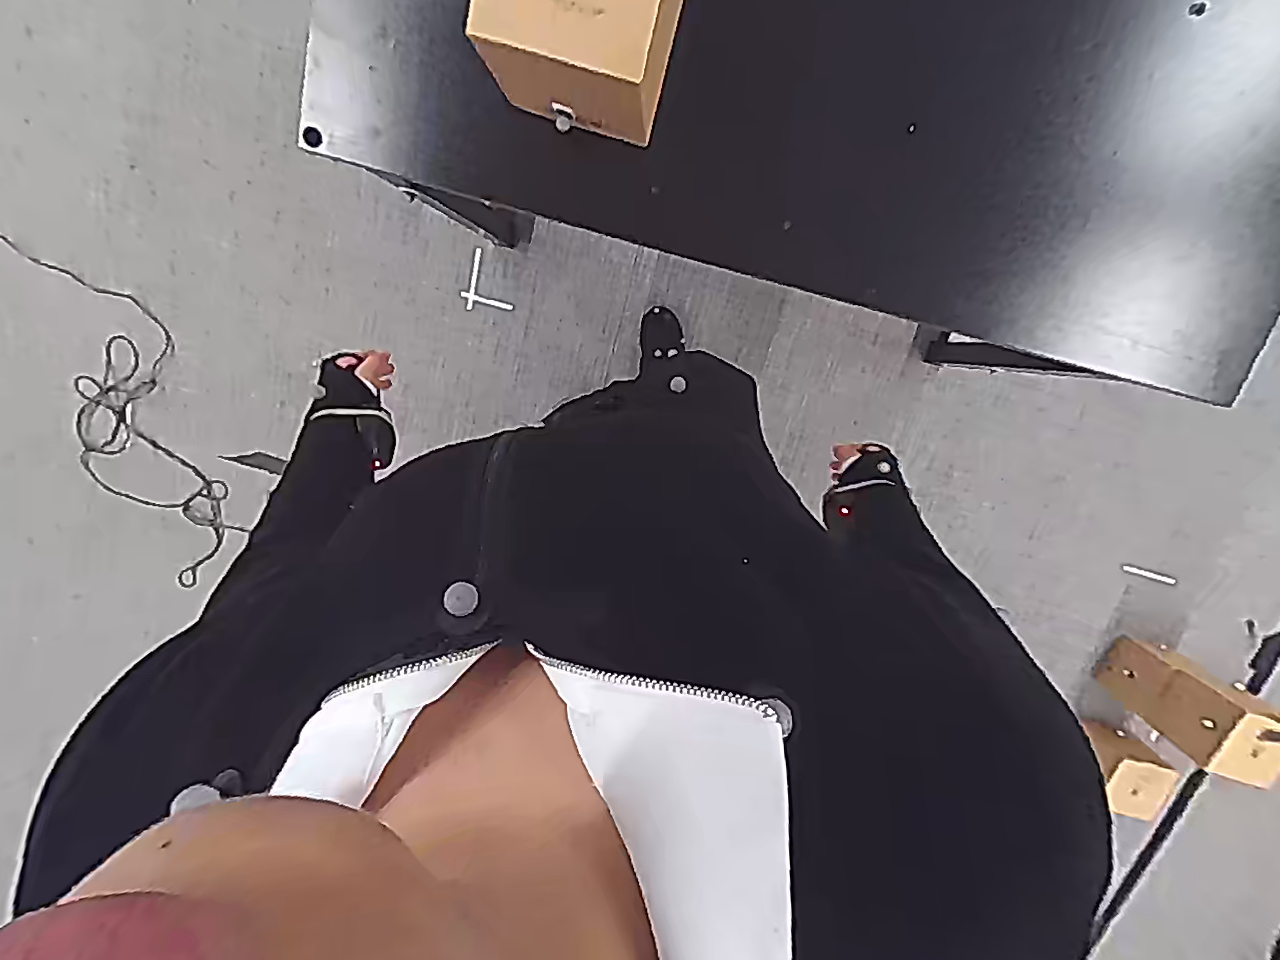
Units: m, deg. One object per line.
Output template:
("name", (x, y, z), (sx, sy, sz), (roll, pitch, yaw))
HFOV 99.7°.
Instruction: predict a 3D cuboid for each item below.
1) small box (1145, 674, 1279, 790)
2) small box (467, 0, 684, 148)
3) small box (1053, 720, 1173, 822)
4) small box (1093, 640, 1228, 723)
("small box", (1.424, 0.614, 1.335), (0.168, 0.176, 0.179), (17, 105, -2))
("small box", (-0.050, -0.470, 0.537), (0.168, 0.176, 0.179), (15, 105, -1))
("small box", (1.355, 0.838, 1.567), (0.168, 0.176, 0.179), (14, 105, -2))
("small box", (1.424, 0.570, 1.495), (0.179, 0.176, 0.168), (18, 104, -2))
